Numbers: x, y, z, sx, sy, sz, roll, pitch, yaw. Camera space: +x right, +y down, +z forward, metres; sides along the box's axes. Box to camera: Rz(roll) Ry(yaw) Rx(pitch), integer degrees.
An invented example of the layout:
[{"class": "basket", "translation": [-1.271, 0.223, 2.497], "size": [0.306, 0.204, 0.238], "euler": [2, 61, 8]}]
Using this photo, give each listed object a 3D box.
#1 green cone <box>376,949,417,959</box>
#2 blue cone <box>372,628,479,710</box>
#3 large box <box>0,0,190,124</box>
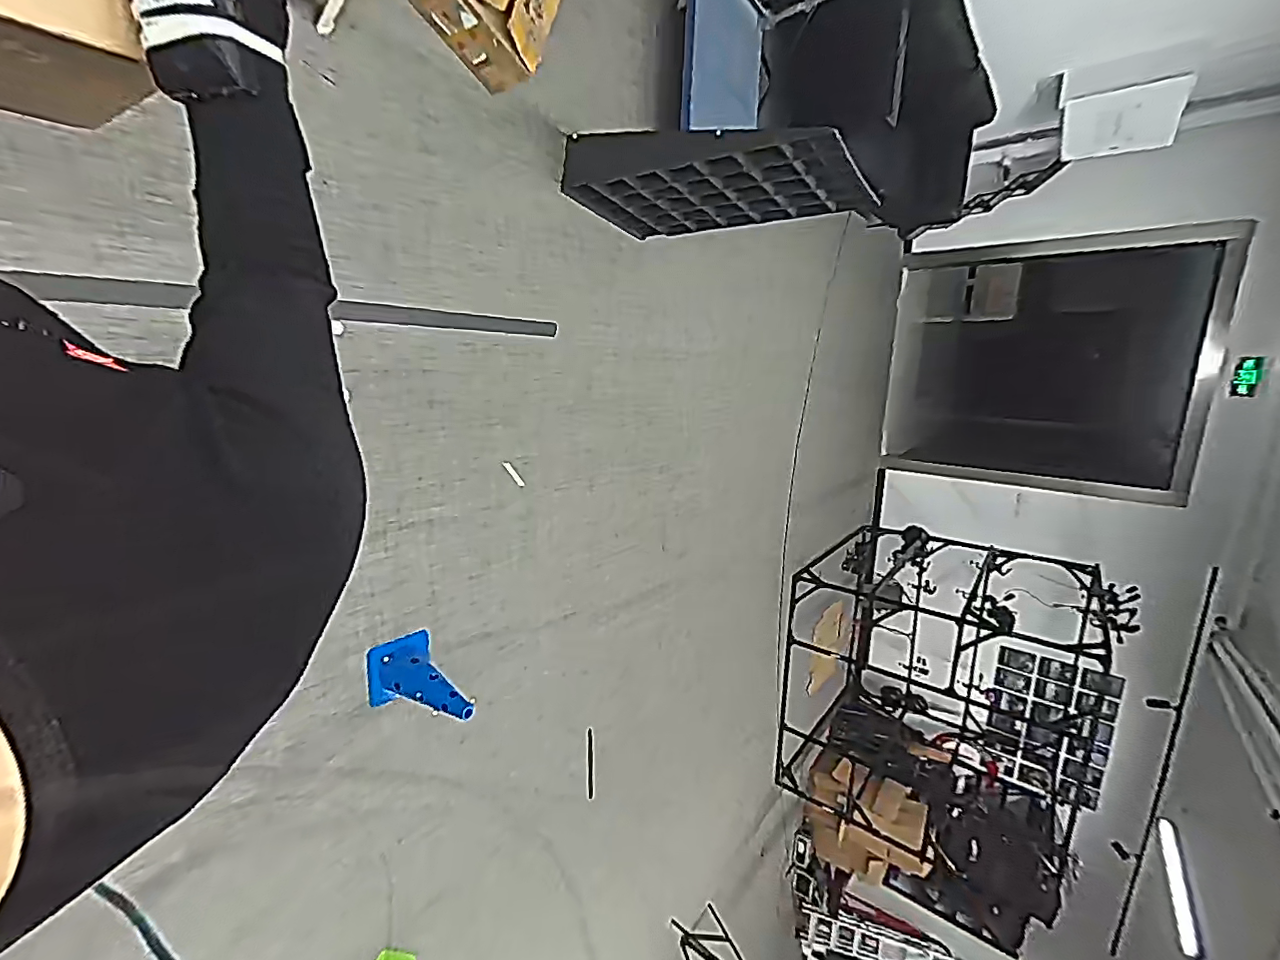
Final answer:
[{"class": "green cone", "translation": [-0.733, 1.727, 1.720], "size": [0.202, 0.368, 0.200], "euler": [-56, 139, -31]}, {"class": "blue cone", "translation": [-0.624, 0.605, 1.618], "size": [0.192, 0.380, 0.193], "euler": [-9, 106, -53]}, {"class": "large box", "translation": [-0.543, -0.429, 0.266], "size": [0.408, 0.320, 0.320], "euler": [-17, 118, -51]}]
